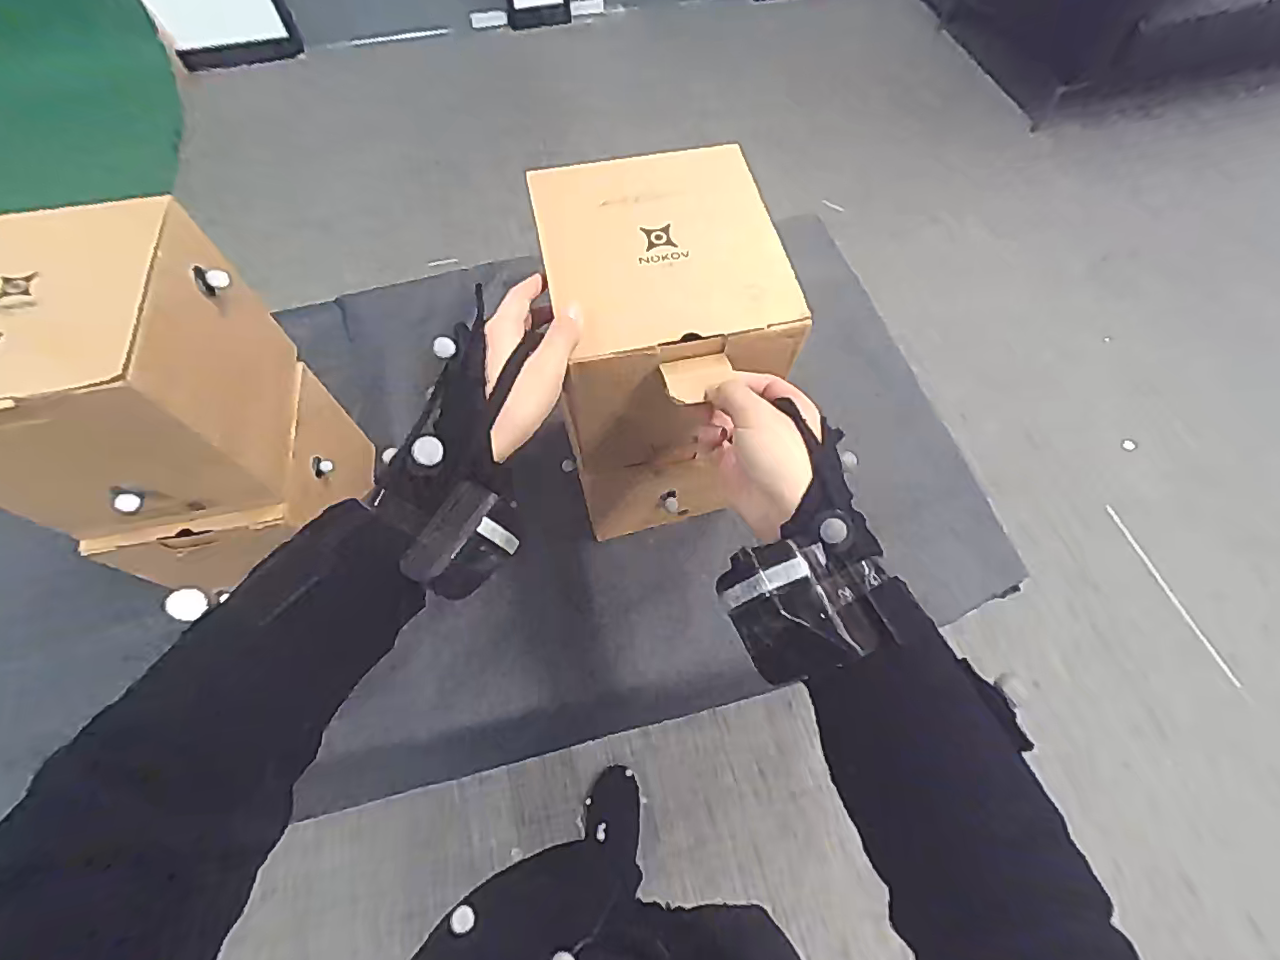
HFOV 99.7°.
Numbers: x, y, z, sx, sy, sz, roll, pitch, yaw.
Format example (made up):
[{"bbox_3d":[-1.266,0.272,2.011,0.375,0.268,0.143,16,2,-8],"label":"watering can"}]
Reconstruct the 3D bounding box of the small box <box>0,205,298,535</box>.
[{"bbox_3d":[-0.400,-0.079,0.424,0.168,0.176,0.179,-11,63,-6],"label":"small box"}]

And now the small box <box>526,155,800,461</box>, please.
[{"bbox_3d":[0.010,-0.129,0.455,0.168,0.176,0.179,-11,65,-7],"label":"small box"}]

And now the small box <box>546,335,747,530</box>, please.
[{"bbox_3d":[0.003,-0.058,0.605,0.168,0.176,0.179,-14,64,-8],"label":"small box"}]

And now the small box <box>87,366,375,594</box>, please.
[{"bbox_3d":[-0.395,0.011,0.564,0.168,0.176,0.179,-9,62,-6],"label":"small box"}]
